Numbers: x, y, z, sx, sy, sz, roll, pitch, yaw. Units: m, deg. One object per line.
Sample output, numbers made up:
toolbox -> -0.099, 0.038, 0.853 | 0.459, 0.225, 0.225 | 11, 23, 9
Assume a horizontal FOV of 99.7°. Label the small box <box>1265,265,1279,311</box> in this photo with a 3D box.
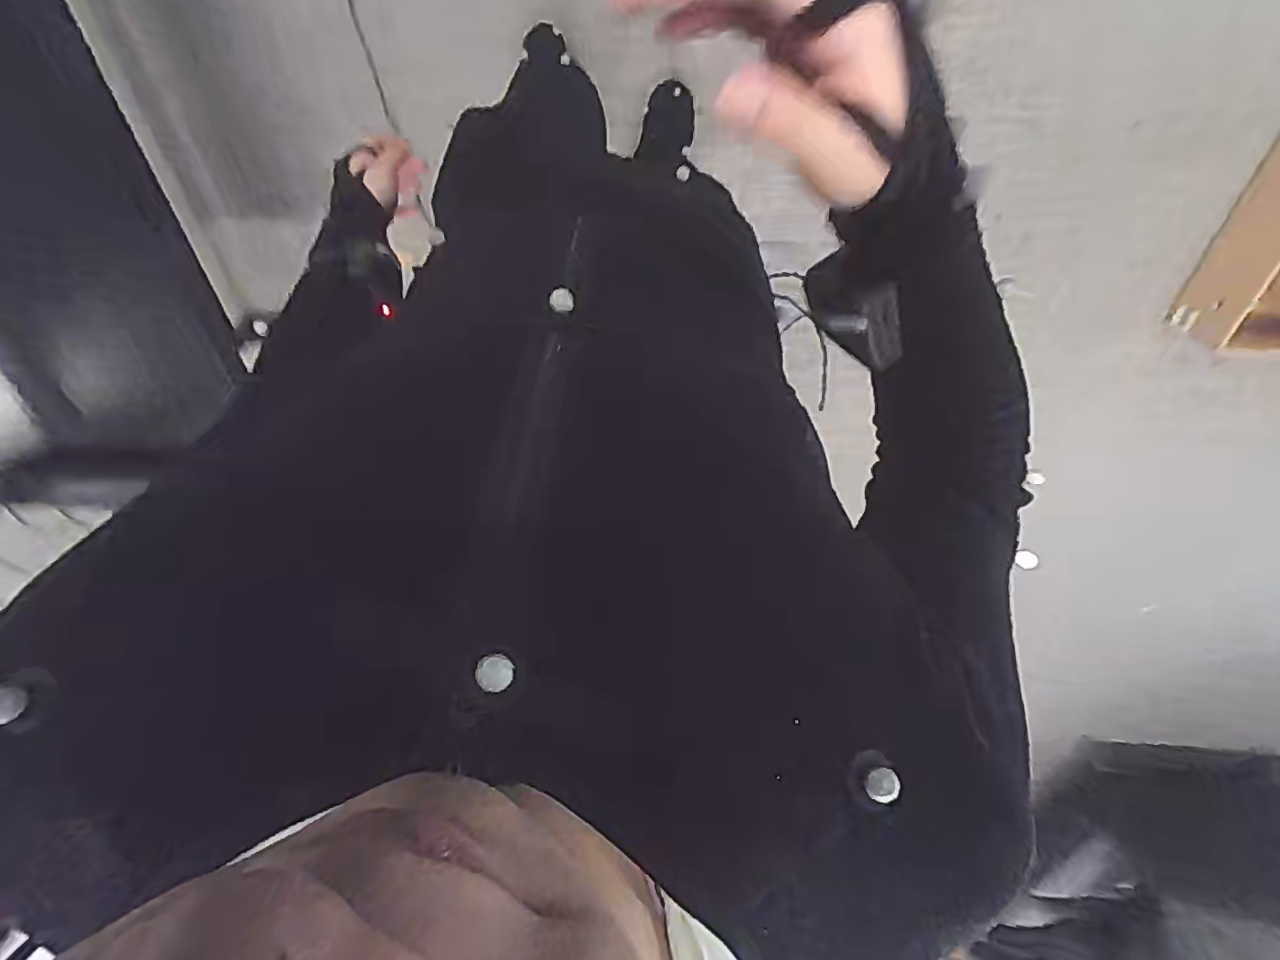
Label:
small box -> 1.595, -0.463, 1.215 | 0.179, 0.176, 0.168 | -11, 125, 13
